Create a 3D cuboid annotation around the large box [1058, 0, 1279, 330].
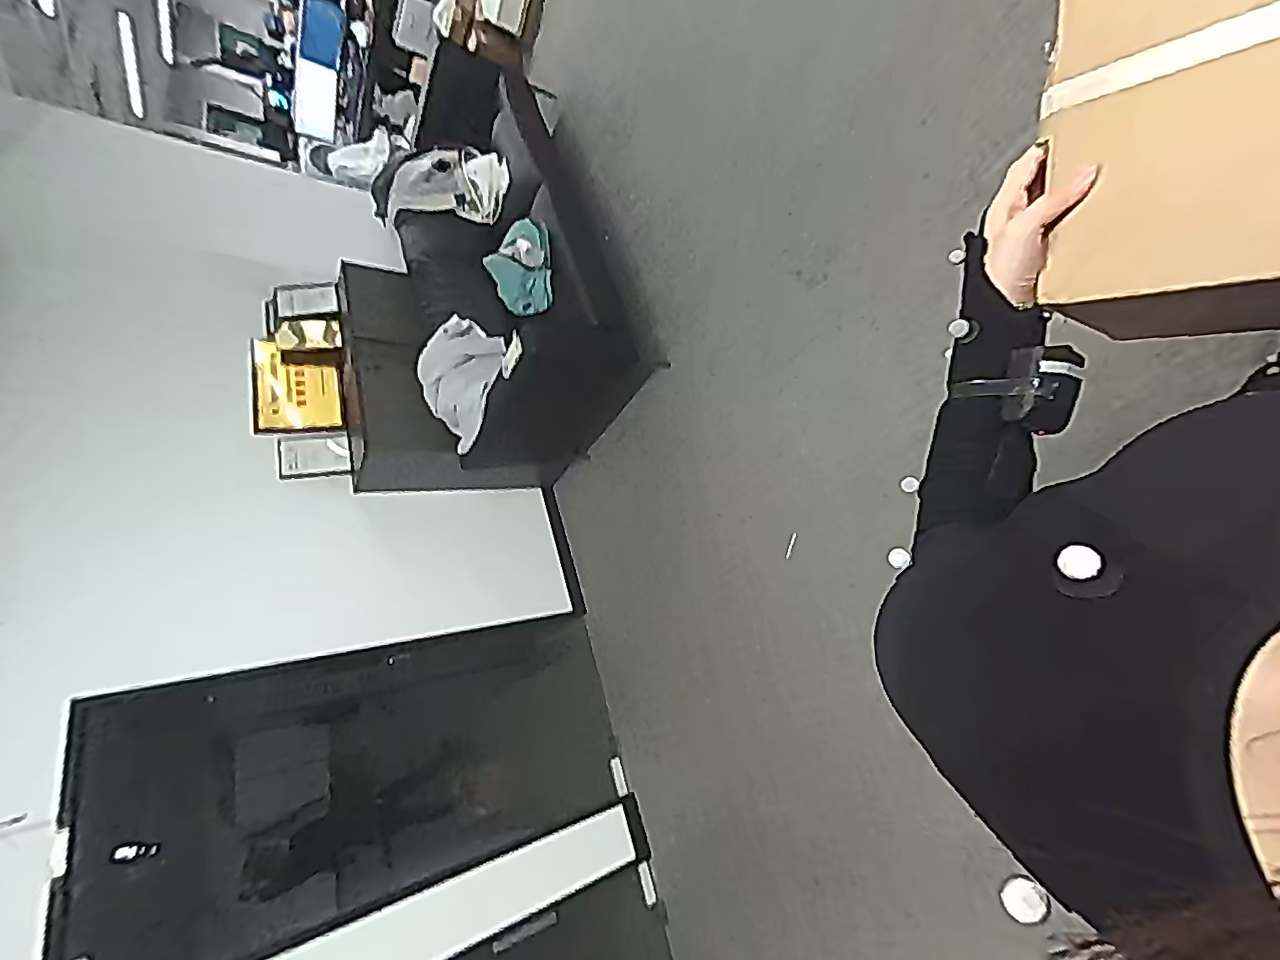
[{"bbox_3d":[0.574,-0.299,0.369,0.408,0.320,0.320,8,101,48],"label":"large box"}]
